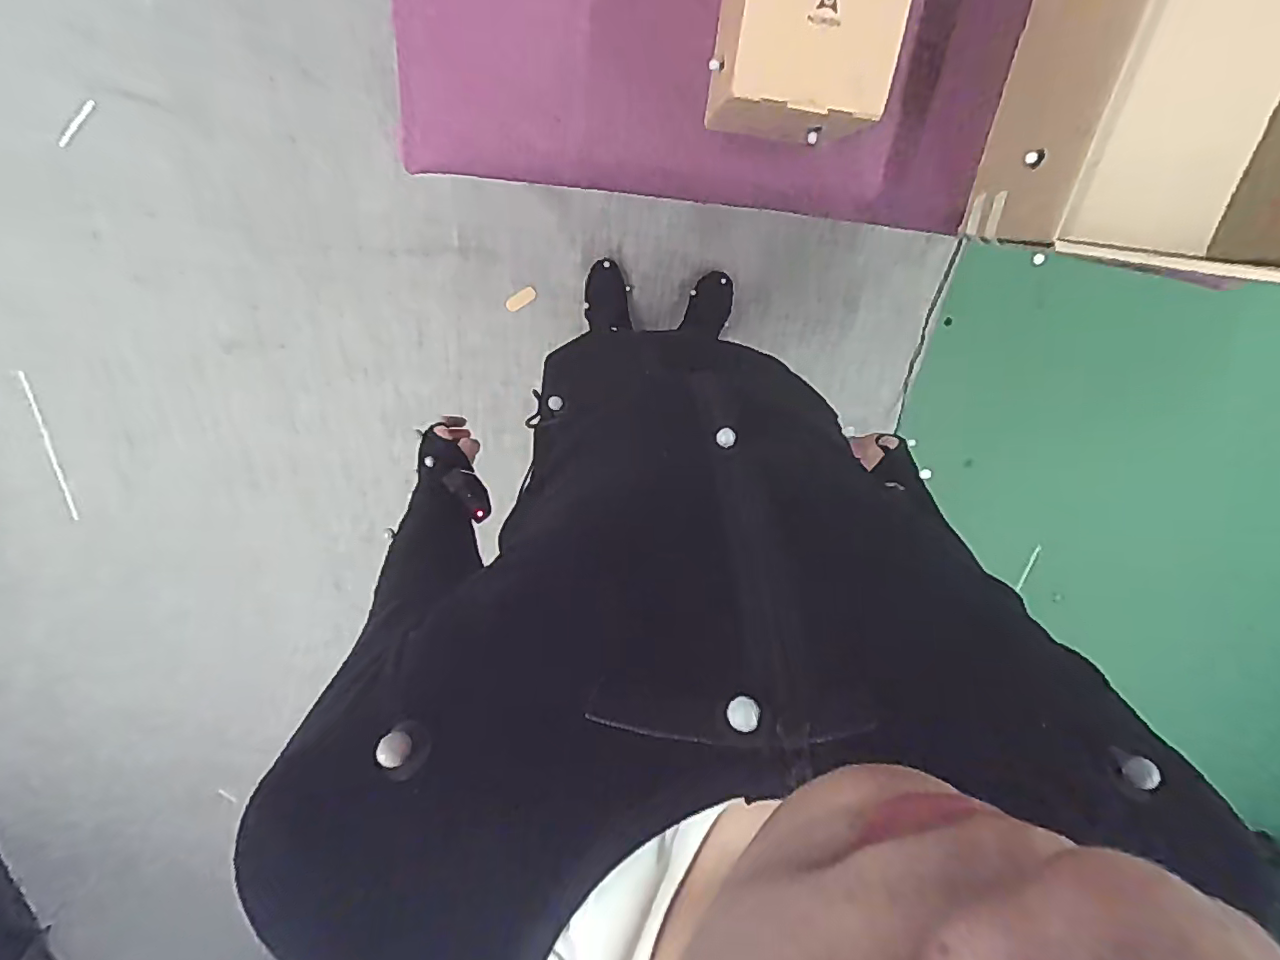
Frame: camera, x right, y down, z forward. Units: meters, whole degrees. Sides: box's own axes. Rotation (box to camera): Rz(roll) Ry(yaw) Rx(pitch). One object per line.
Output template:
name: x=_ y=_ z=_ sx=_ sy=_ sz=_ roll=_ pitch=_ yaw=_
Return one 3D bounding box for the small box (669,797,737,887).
small box: x=0.207 y=1.219 z=1.828 sx=0.179 sy=0.176 sz=0.168 roll=-25 pitch=112 yaw=8

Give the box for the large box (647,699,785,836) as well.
large box: x=0.274 y=1.115 z=2.057 sx=0.408 sy=0.320 sz=0.320 roll=-25 pitch=114 yaw=7

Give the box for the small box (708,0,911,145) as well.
small box: x=0.177 y=-0.492 z=0.599 sx=0.168 sy=0.176 sz=0.179 roll=5 pitch=112 yaw=-6
